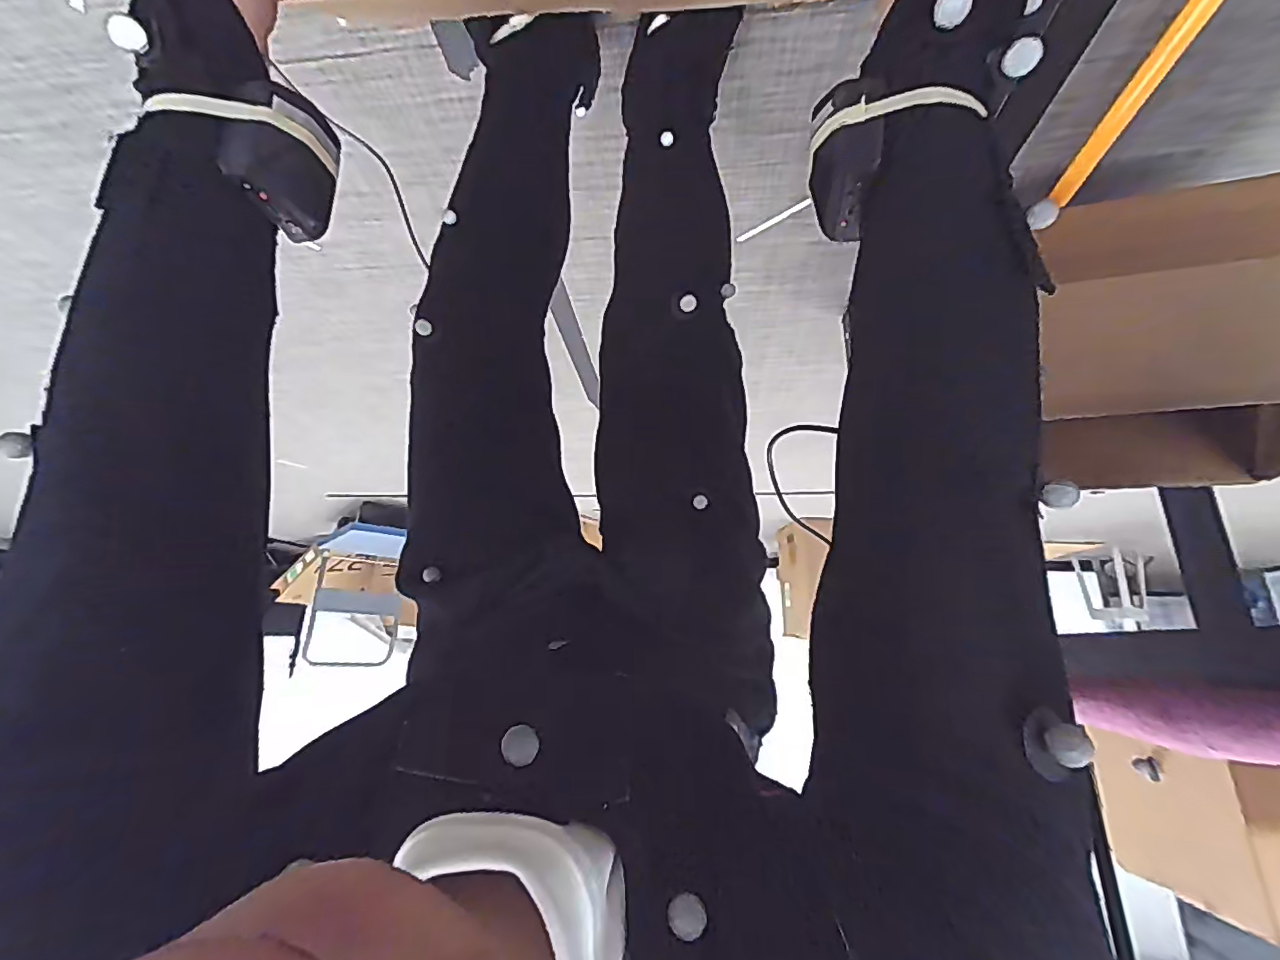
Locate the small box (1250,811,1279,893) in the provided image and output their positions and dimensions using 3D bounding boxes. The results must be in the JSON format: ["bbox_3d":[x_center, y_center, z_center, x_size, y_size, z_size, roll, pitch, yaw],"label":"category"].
[{"bbox_3d":[0.565,0.263,0.334,0.168,0.176,0.179,38,179,32],"label":"small box"}]
